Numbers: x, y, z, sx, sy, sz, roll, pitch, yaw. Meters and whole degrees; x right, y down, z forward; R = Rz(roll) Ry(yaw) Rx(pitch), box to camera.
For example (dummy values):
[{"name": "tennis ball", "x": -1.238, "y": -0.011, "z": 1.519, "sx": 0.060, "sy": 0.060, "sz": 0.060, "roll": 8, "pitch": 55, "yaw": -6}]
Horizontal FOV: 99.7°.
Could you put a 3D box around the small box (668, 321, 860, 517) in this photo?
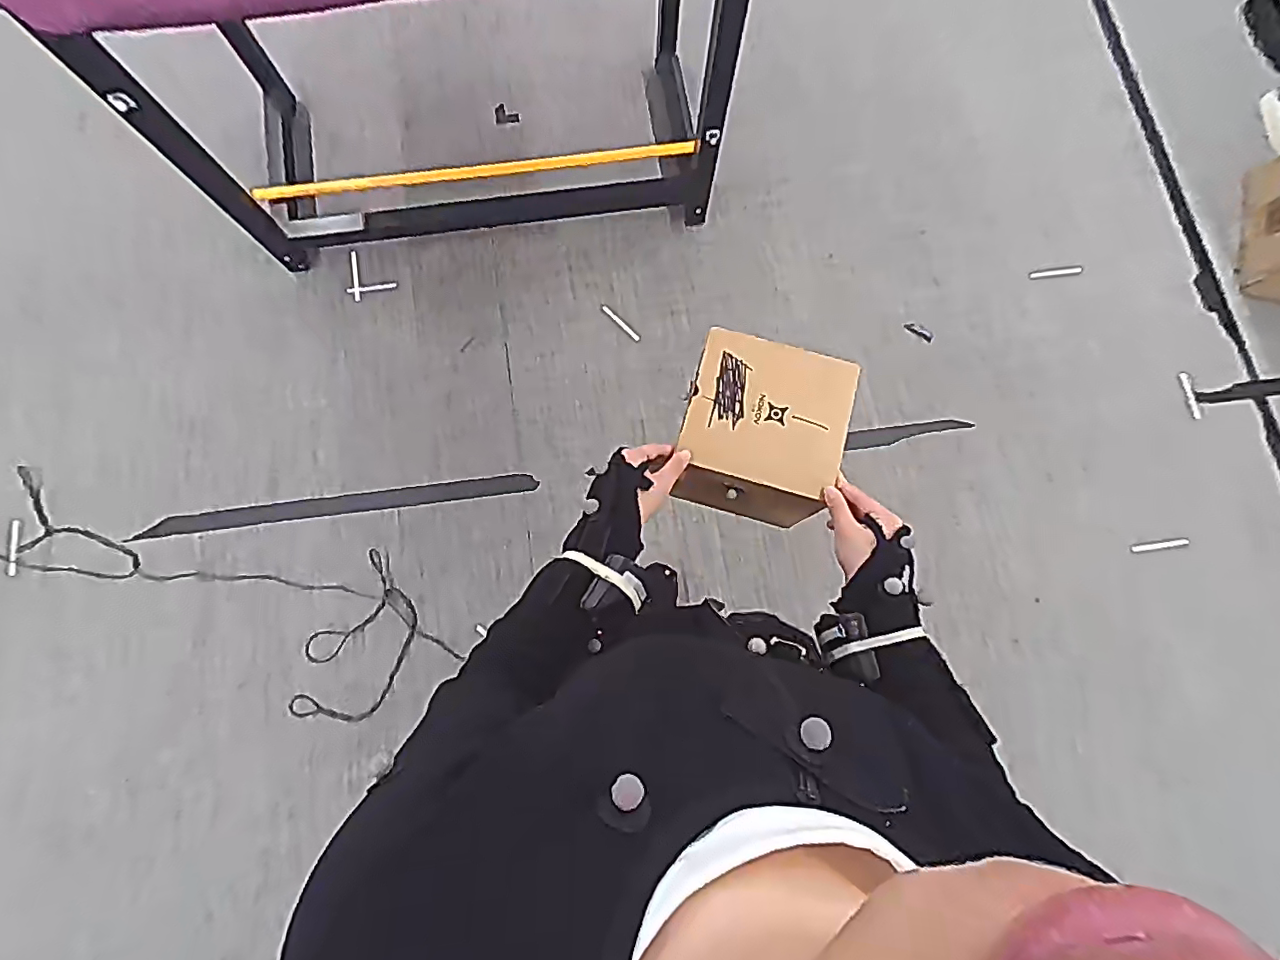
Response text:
[{"name": "small box", "x": 0.139, "y": -0.062, "z": 0.663, "sx": 0.179, "sy": 0.176, "sz": 0.168, "roll": 16, "pitch": 77, "yaw": 2}]
